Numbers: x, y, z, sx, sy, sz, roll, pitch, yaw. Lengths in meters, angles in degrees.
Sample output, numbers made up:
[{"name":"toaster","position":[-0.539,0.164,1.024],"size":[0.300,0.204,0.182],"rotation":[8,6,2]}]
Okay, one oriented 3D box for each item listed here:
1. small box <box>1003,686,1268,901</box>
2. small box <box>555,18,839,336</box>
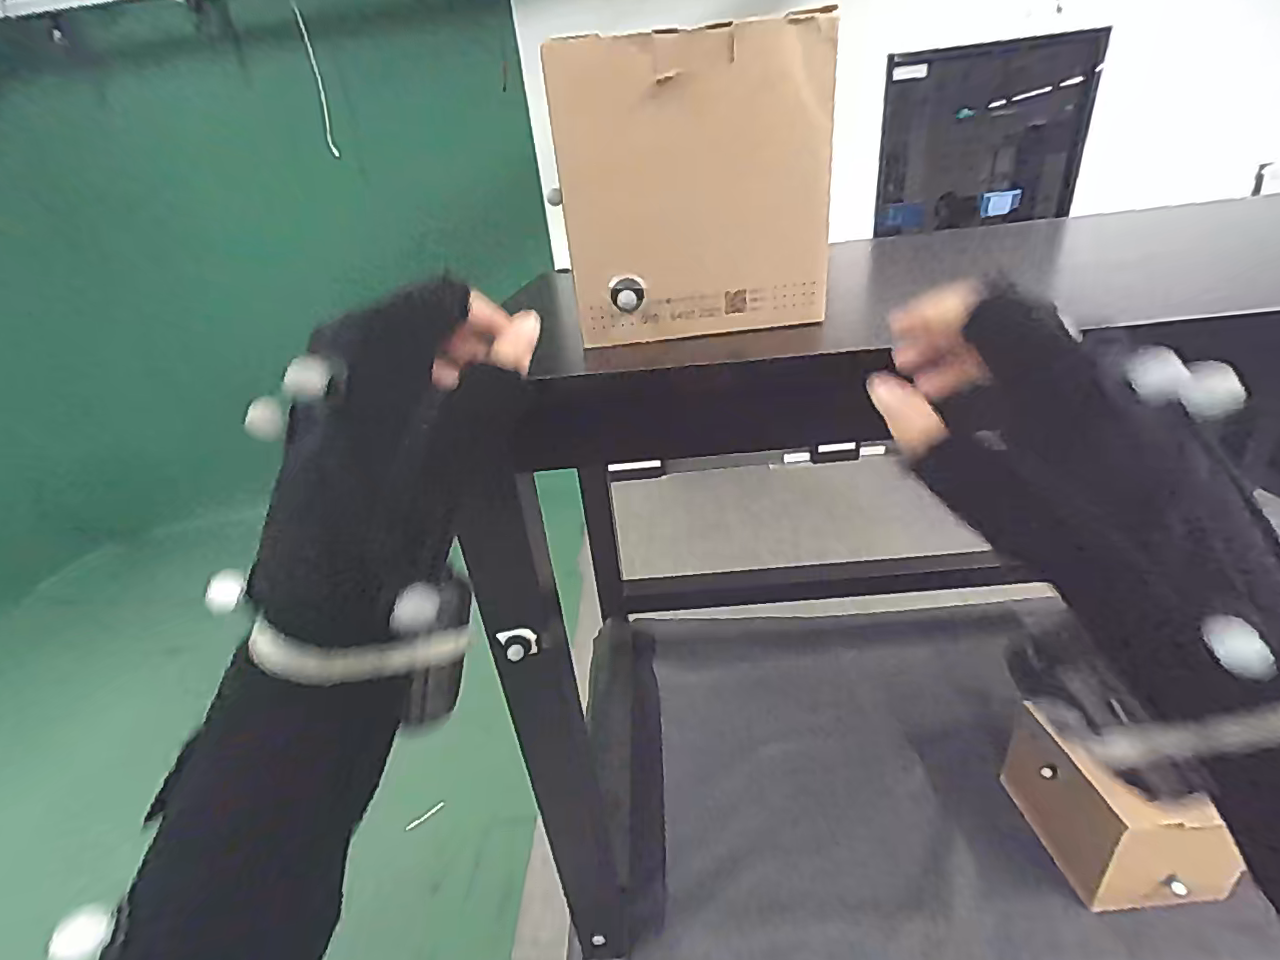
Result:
[{"name":"small box","position":[0.614,0.400,0.704],"size":[0.168,0.176,0.179],"rotation":[-6,26,1]},{"name":"small box","position":[0.036,-0.209,0.410],"size":[0.168,0.176,0.179],"rotation":[-6,26,-2]}]
